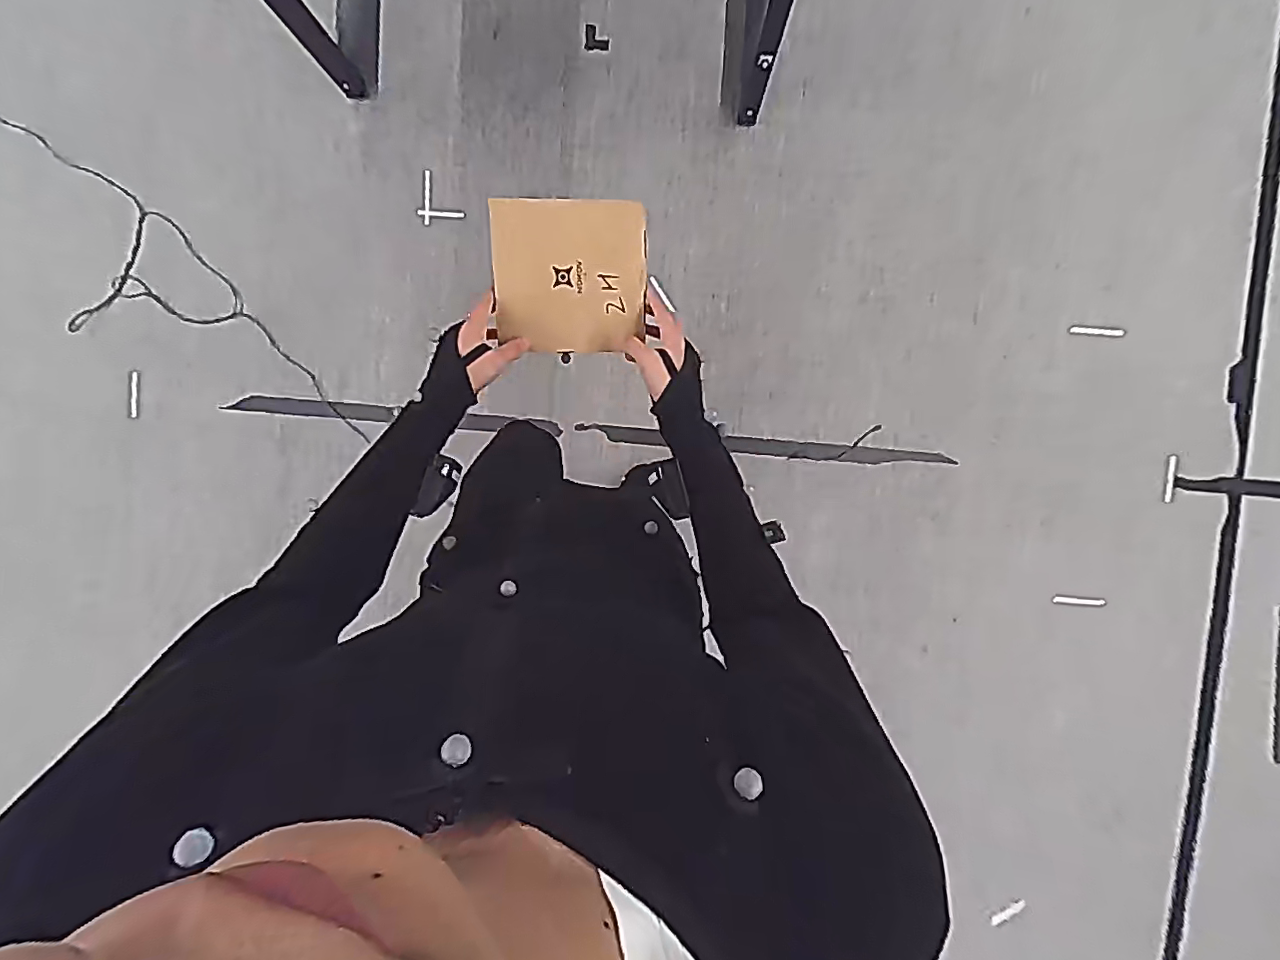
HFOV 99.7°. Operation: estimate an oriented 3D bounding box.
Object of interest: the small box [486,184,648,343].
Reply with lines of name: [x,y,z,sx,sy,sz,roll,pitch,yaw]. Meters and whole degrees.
small box: [-0.083,-0.258,0.676,0.179,0.176,0.168,-1,106,-4]
